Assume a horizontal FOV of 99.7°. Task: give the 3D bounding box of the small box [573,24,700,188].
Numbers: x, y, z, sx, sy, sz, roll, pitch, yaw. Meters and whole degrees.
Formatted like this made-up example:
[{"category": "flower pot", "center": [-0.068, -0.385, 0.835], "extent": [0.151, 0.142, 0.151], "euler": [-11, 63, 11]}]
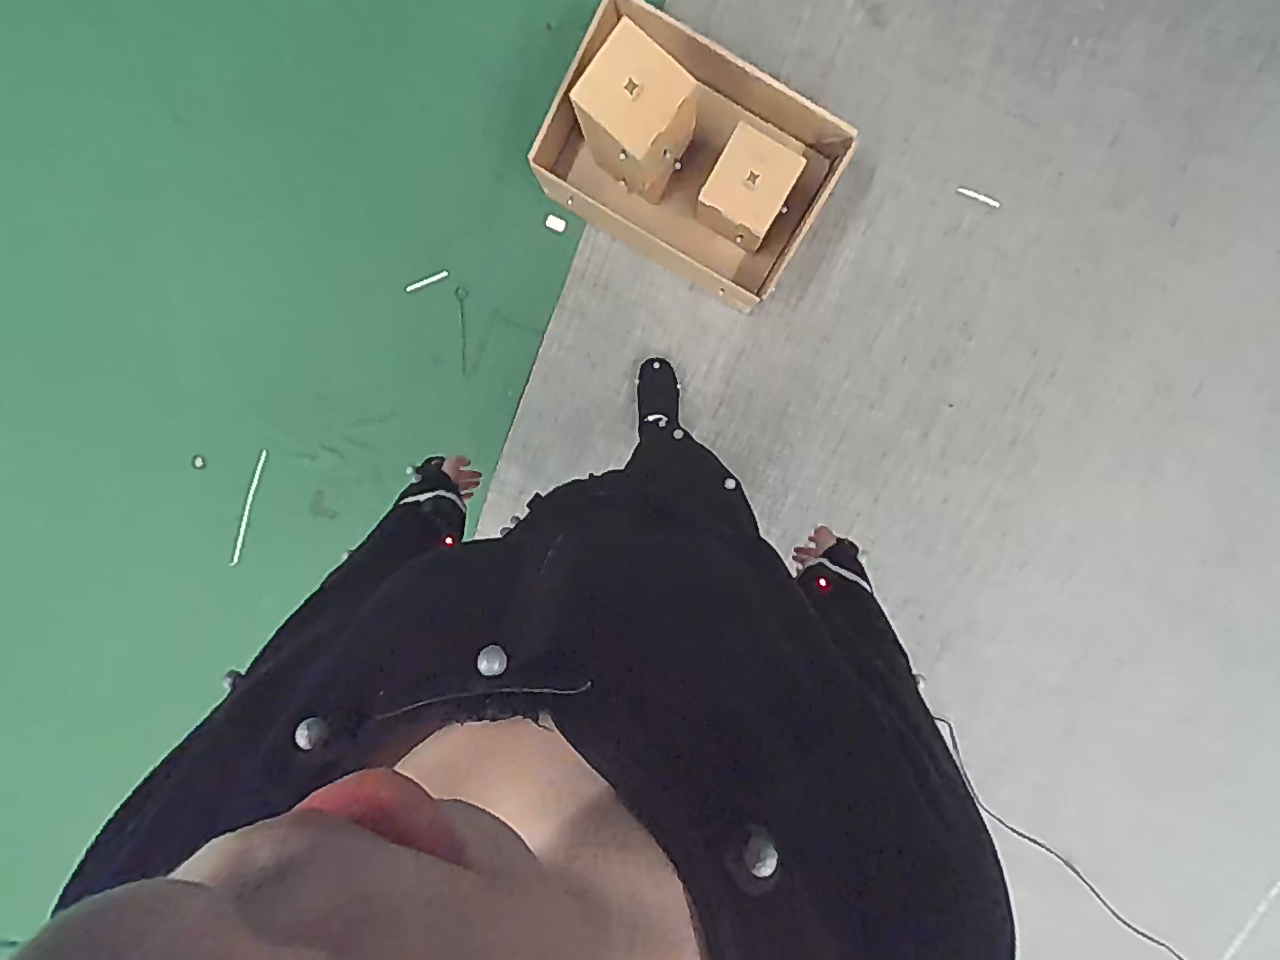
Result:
[{"category": "small box", "center": [-0.004, -0.716, 1.064], "extent": [0.179, 0.176, 0.168], "euler": [40, 100, -5]}]
